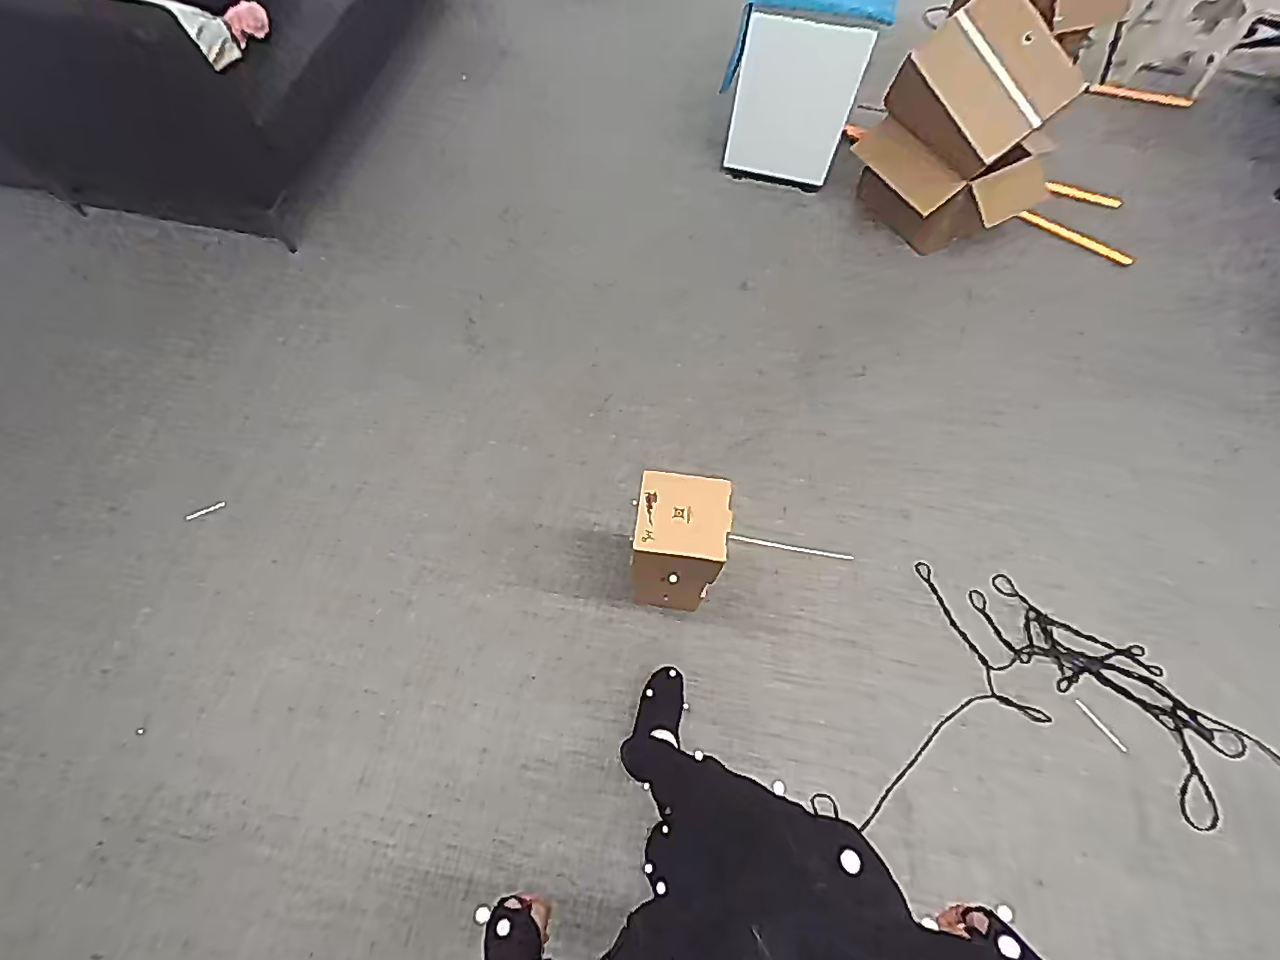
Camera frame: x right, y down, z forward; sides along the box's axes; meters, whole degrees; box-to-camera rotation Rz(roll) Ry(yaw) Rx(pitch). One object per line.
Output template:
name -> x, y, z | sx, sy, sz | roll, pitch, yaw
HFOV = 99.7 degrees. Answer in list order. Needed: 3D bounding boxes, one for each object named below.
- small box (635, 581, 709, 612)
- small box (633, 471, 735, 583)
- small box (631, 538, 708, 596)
small box -> 0.086, 0.232, 1.391 | 0.179, 0.176, 0.168 | 10, 64, 3
small box -> 0.084, 0.101, 1.090 | 0.179, 0.176, 0.168 | 8, 64, 2
small box -> 0.079, 0.159, 1.244 | 0.179, 0.176, 0.168 | 10, 65, 4
